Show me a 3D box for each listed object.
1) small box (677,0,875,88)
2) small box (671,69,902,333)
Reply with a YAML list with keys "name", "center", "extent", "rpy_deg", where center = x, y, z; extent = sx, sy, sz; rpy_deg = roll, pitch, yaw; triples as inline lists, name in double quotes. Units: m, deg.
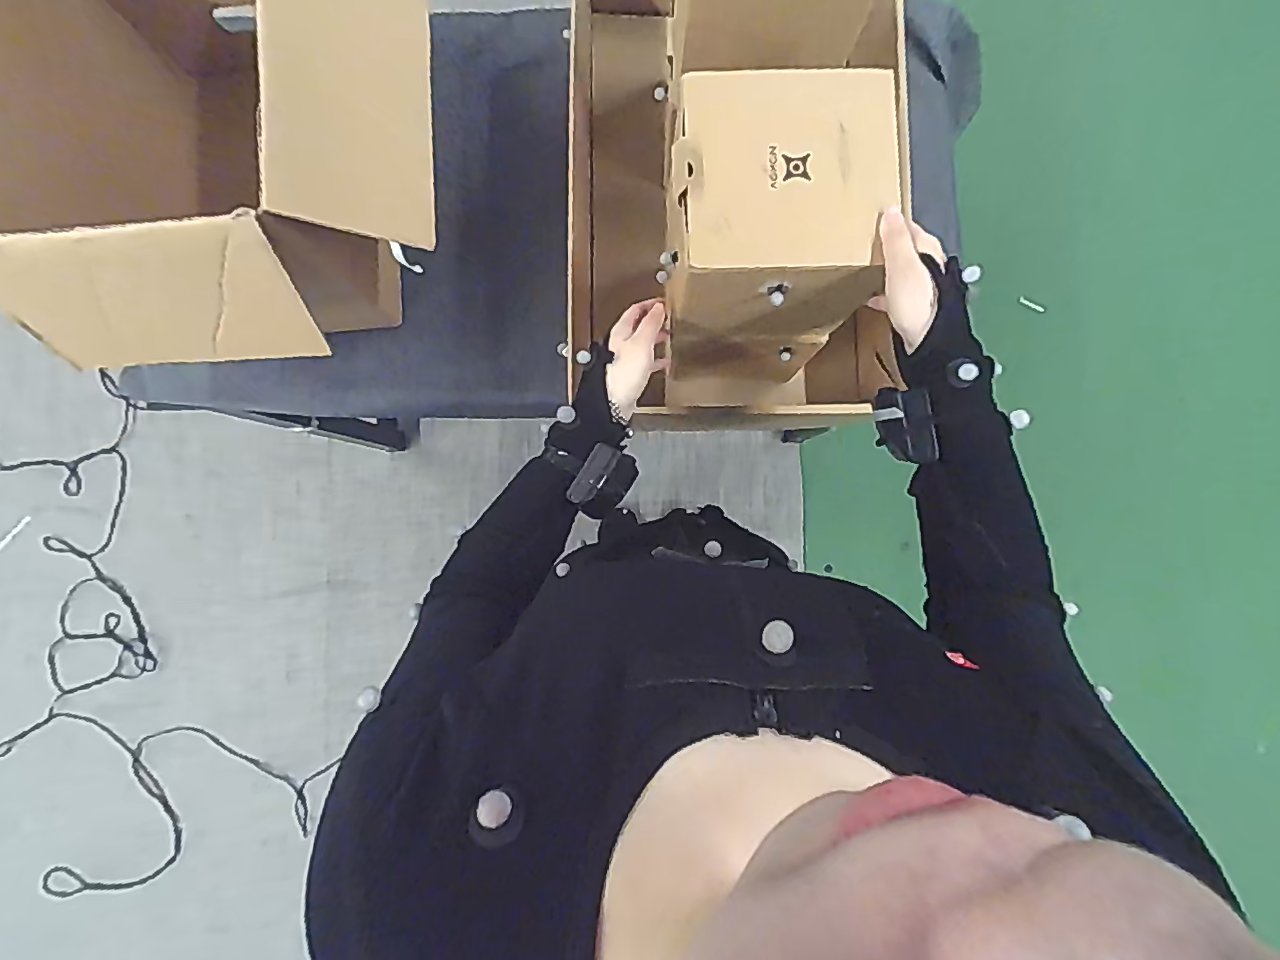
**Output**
- name: "small box"
  center: [0.123, -0.499, 0.525]
  extent: [0.168, 0.176, 0.179]
  rpy_deg: [1, 89, 0]
- name: "small box"
  center: [0.120, -0.245, 0.514]
  extent: [0.179, 0.176, 0.168]
  rpy_deg: [-2, 87, -1]
